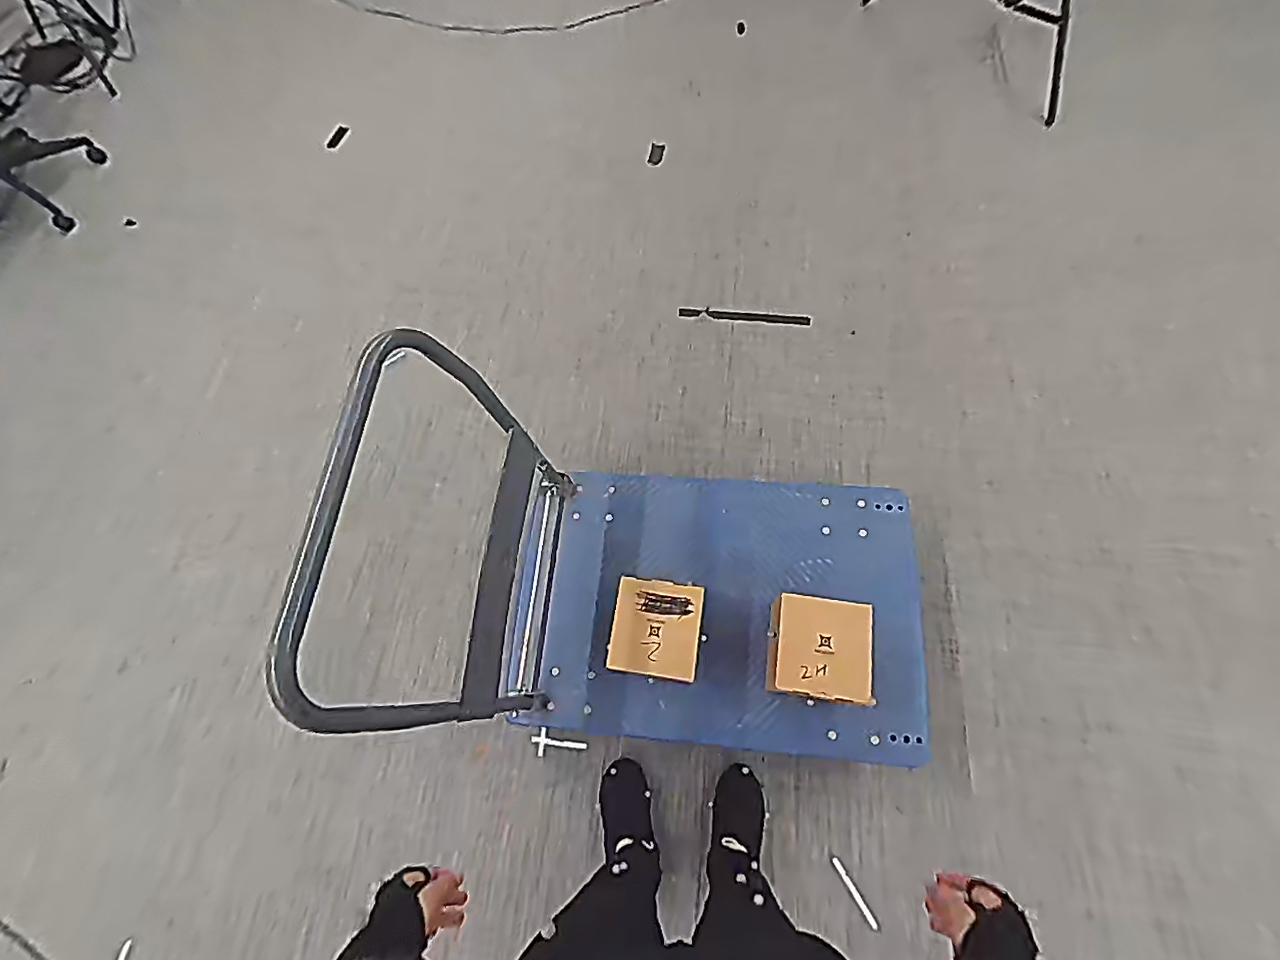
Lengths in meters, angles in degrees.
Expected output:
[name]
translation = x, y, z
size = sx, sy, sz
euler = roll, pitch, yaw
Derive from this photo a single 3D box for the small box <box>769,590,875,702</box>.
[small box]
translation = 0.348, 0.326, 1.054
size = 0.168, 0.176, 0.179
euler = 6, 70, 9
